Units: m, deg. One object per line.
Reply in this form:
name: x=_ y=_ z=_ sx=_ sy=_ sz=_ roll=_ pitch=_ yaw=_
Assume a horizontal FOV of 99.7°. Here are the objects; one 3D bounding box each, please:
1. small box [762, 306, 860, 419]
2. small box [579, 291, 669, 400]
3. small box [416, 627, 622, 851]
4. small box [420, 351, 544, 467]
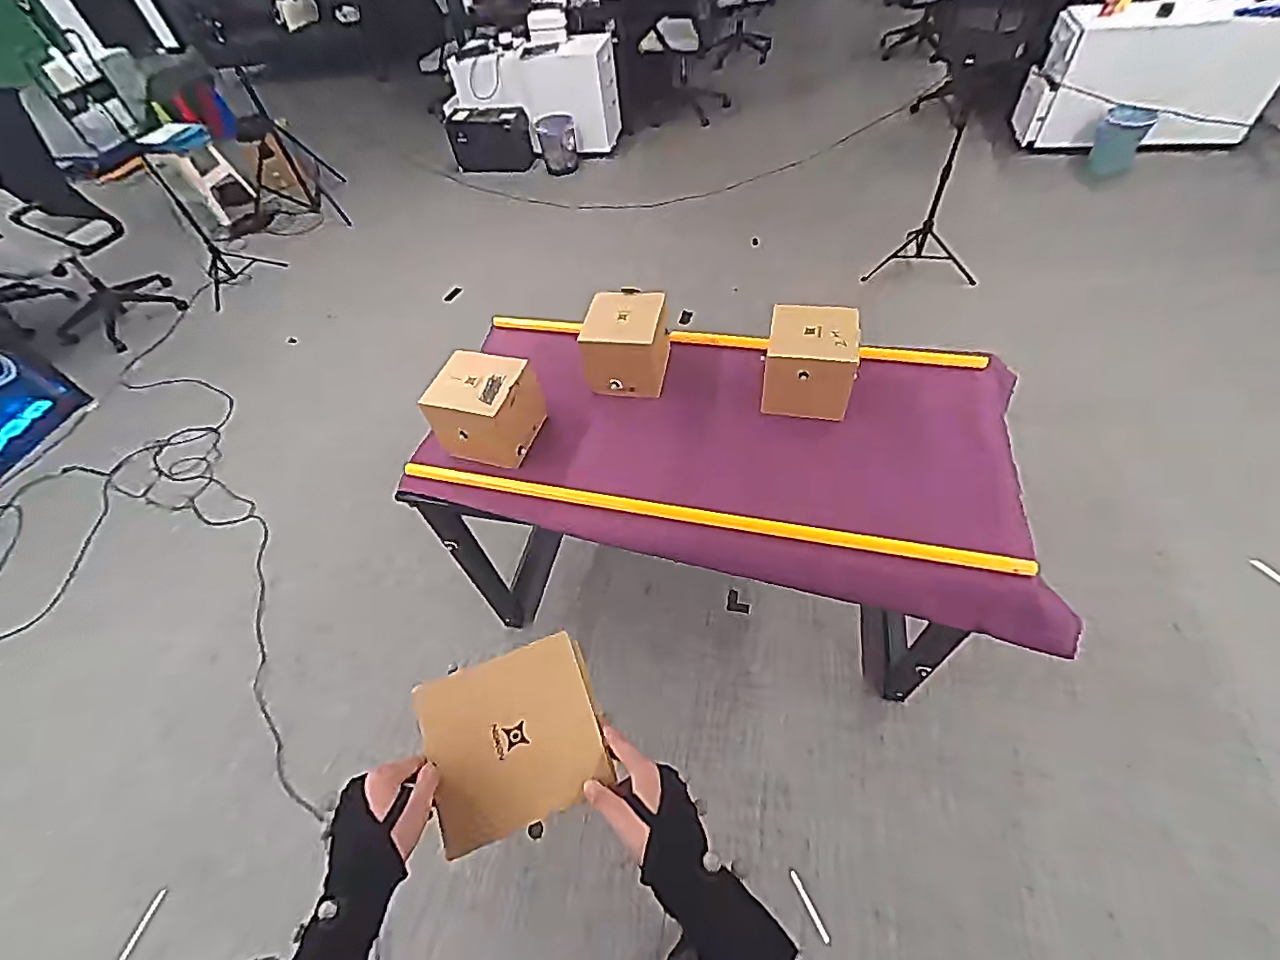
small box: x=0.358 y=-0.247 z=1.147 sx=0.179 sy=0.176 sz=0.168 roll=8 pitch=56 yaw=13
small box: x=-0.027 y=-0.309 z=1.243 sx=0.168 sy=0.176 sz=0.179 roll=5 pitch=55 yaw=12
small box: x=-0.130 y=0.283 z=0.627 sx=0.179 sy=0.176 sz=0.168 roll=-20 pitch=71 yaw=-8
small box: x=-0.324 y=-0.148 z=1.153 sx=0.179 sy=0.176 sz=0.168 roll=11 pitch=55 yaw=14
